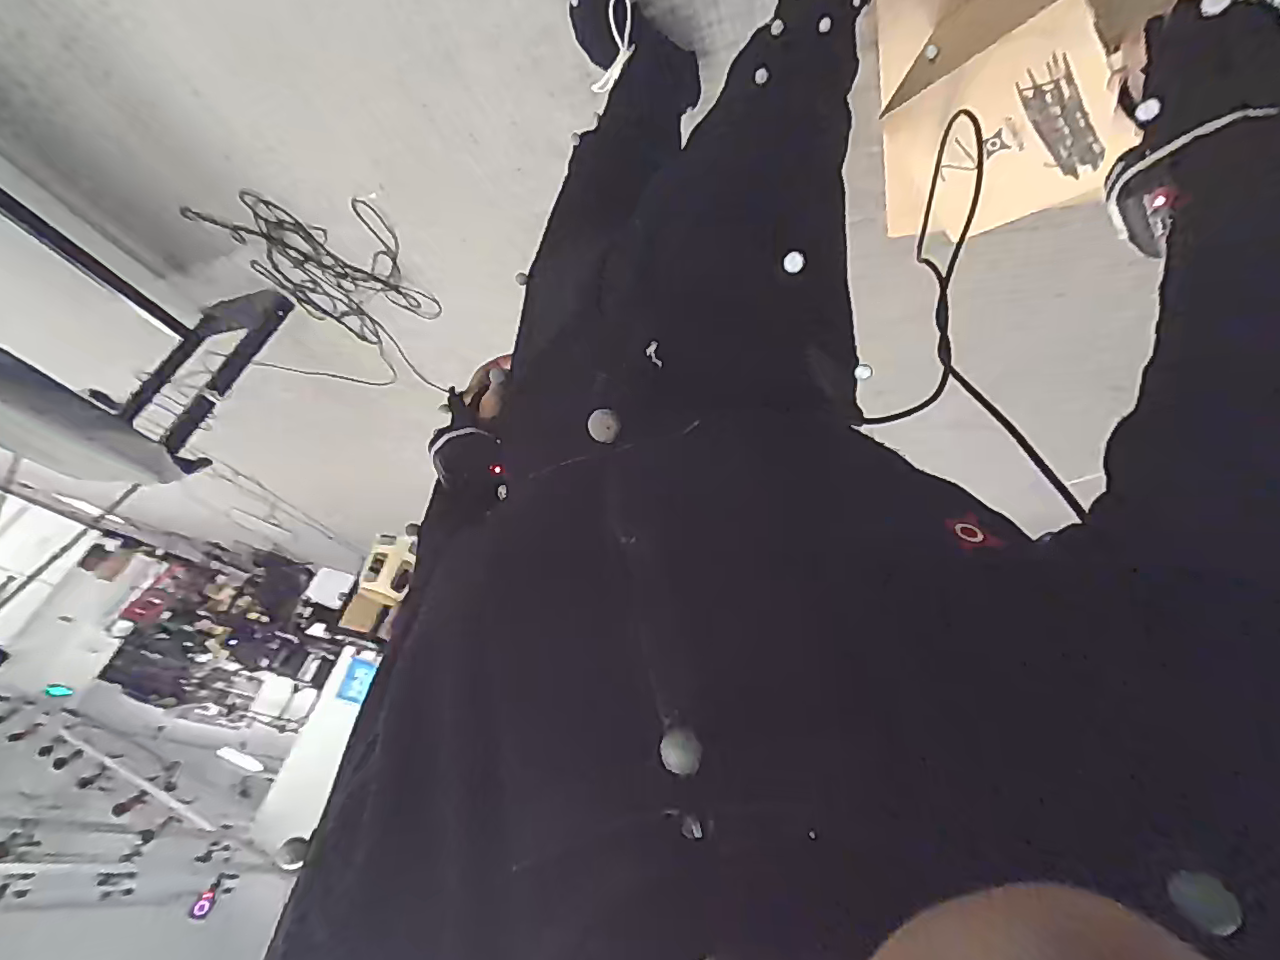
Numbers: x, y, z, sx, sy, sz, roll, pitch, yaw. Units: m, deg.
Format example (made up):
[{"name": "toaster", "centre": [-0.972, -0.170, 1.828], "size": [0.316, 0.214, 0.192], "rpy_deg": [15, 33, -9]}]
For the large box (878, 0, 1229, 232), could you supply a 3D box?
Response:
[{"name": "large box", "centre": [0.479, -0.603, 0.665], "size": [0.320, 0.320, 0.408], "rpy_deg": [2, 150, 28]}]
